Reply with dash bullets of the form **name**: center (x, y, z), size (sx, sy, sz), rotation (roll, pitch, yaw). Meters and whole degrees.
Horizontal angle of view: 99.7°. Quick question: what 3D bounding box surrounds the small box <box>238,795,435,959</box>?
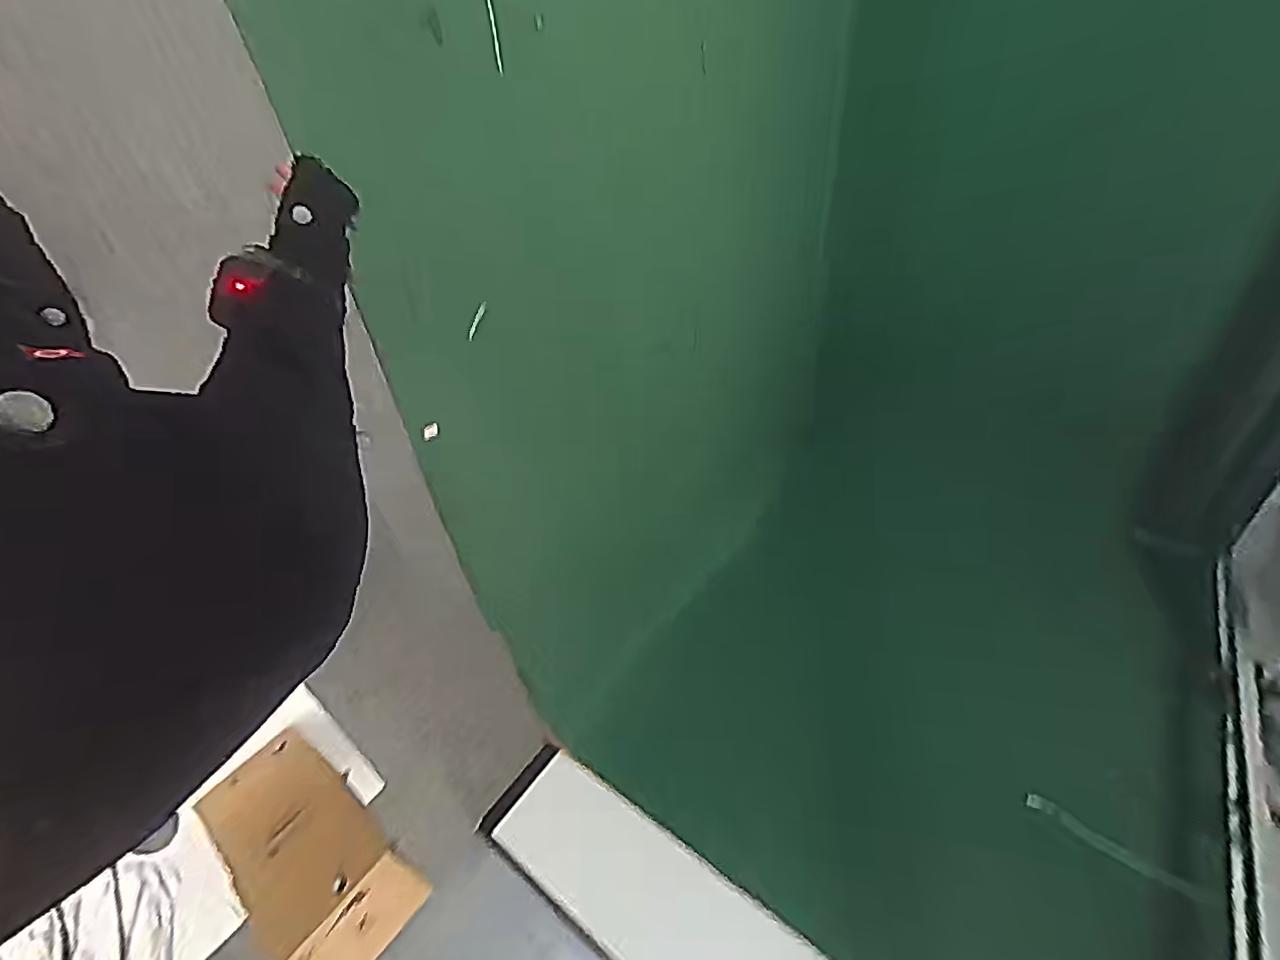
- **small box**: center (-0.449, 0.618, 0.812), size (0.168, 0.176, 0.179), rotation (-42, 139, -34)

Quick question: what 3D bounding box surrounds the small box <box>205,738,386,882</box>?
- **small box**: center (-0.573, 0.568, 0.905), size (0.168, 0.176, 0.179), rotation (-42, 138, -34)
